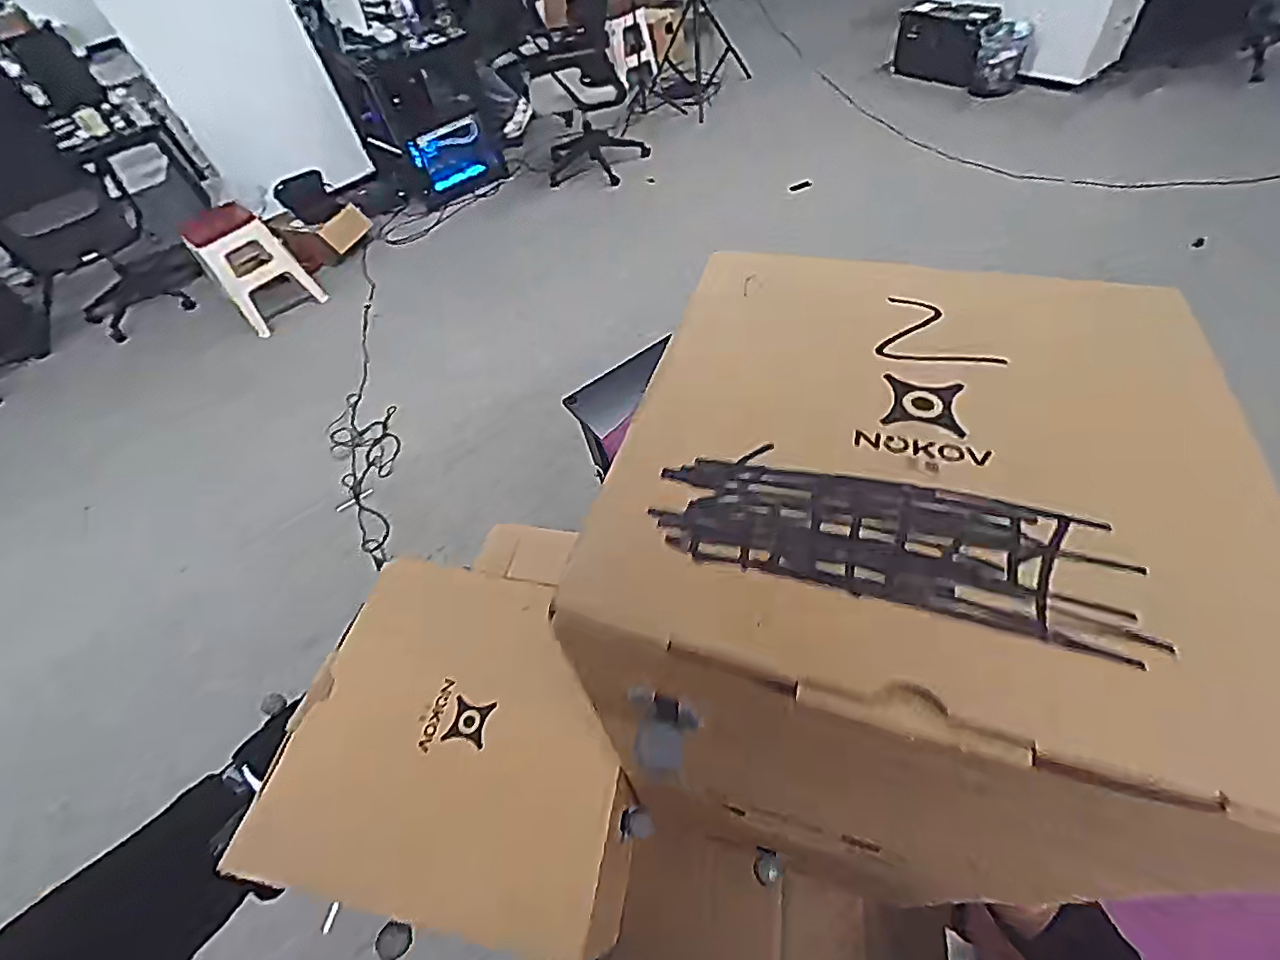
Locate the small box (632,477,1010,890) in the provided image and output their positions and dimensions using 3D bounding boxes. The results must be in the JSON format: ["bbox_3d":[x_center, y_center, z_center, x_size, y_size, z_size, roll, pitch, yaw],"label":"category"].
[{"bbox_3d":[0.104,0.129,0.346,0.168,0.176,0.179,11,54,15],"label":"small box"}]

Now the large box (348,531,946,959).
[{"bbox_3d":[0.027,0.278,0.551,0.408,0.320,0.320,5,51,11],"label":"large box"}]
